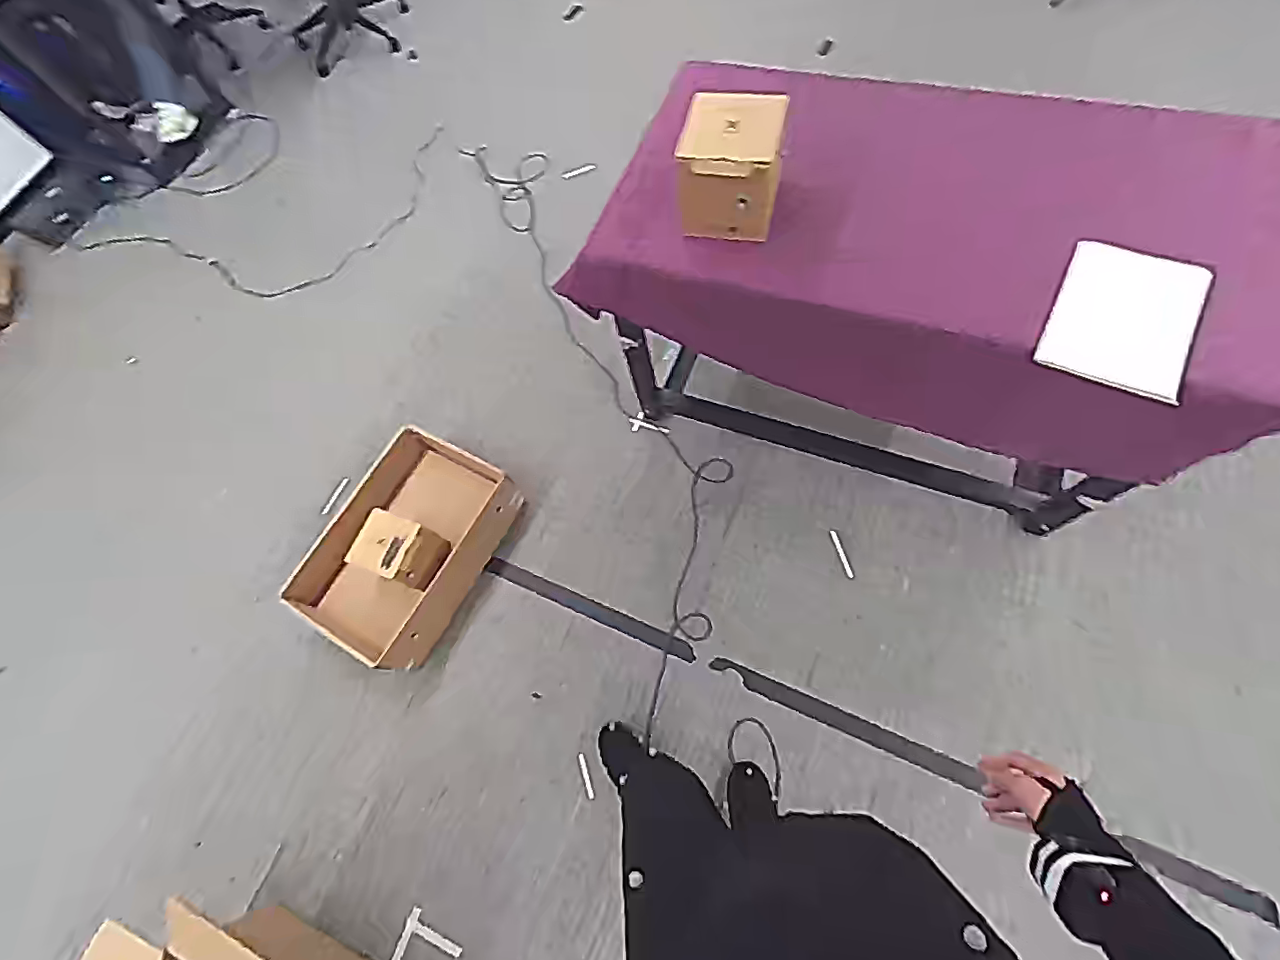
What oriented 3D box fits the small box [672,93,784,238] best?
[{"bbox_3d":[0.165,-0.581,1.010,0.168,0.176,0.179,11,70,13],"label":"small box"}]
